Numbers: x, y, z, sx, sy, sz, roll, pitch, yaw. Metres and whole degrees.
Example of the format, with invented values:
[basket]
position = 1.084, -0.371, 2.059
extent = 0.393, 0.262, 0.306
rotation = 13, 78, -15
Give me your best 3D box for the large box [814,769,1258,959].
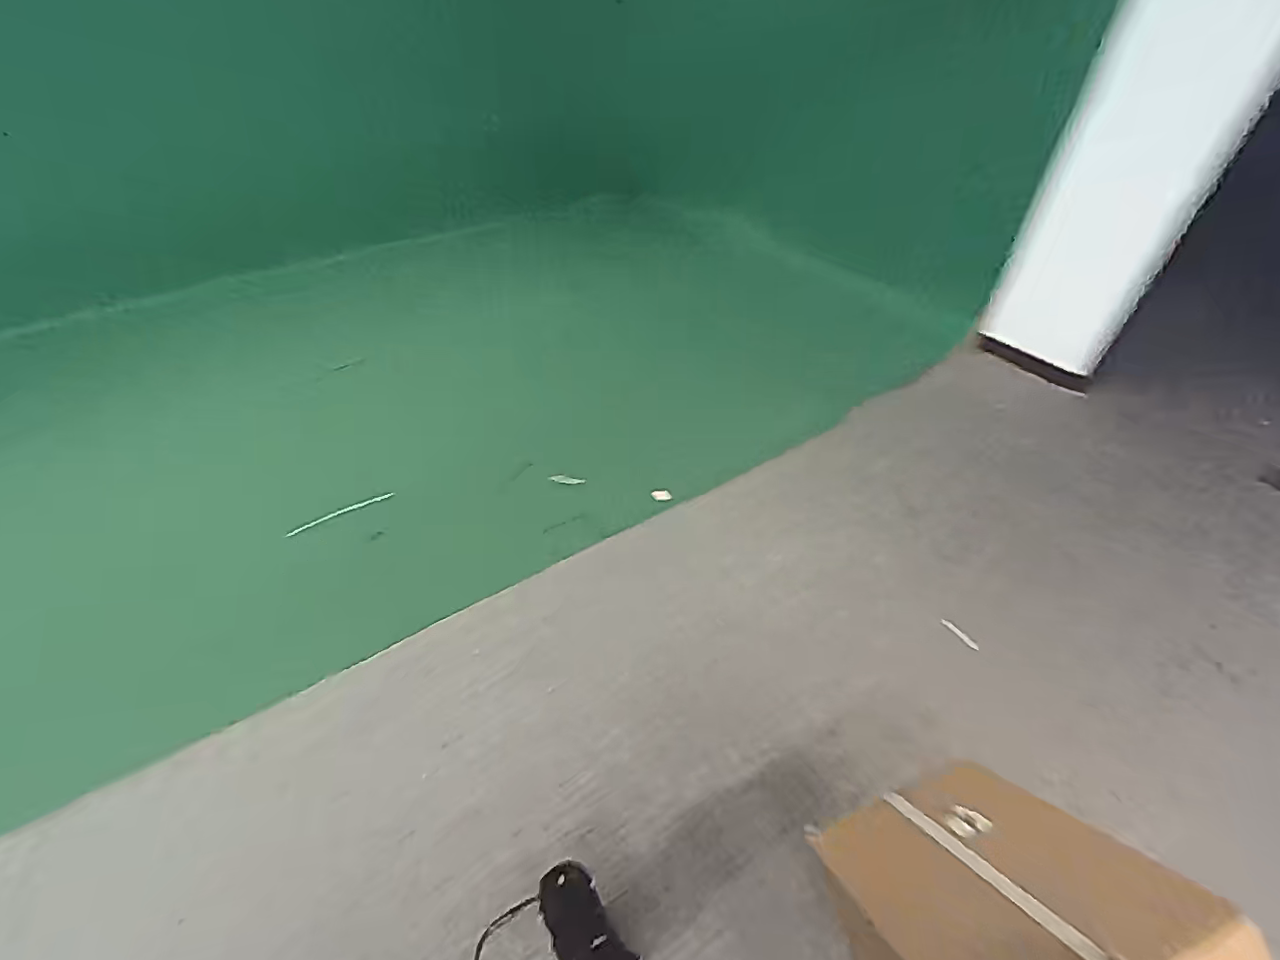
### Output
[large box]
position = 0.502, 0.661, 0.703
extent = 0.320, 0.408, 0.320
rotation = -19, 84, -8
